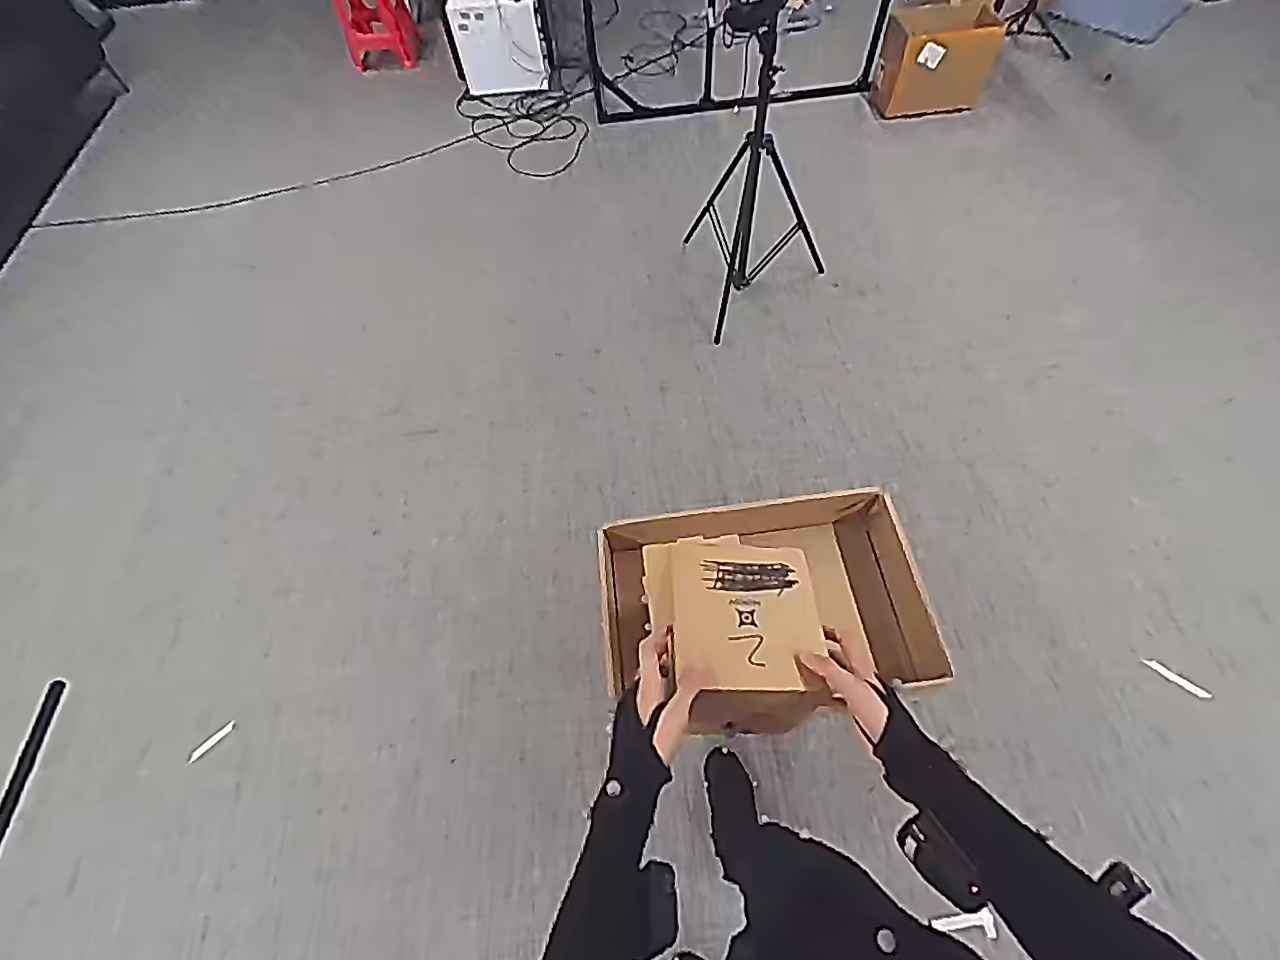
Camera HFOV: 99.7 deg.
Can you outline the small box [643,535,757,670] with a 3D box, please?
[{"bbox_3d":[0.097,0.215,0.934,0.168,0.176,0.179,-7,59,1],"label":"small box"}]
